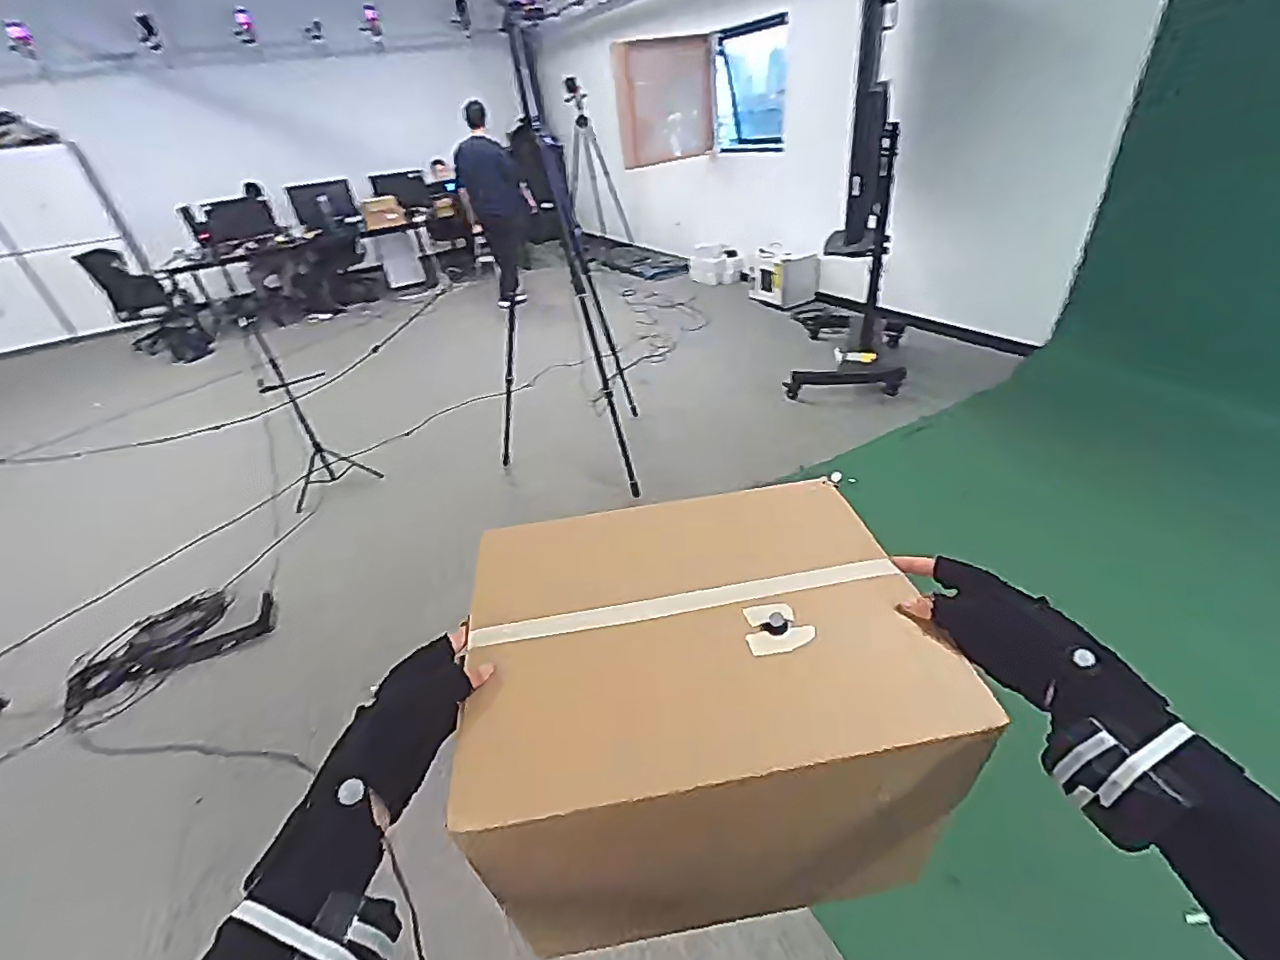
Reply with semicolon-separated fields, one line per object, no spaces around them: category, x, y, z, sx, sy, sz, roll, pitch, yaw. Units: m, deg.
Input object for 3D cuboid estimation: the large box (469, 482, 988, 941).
large box;0.061;0.237;0.600;0.408;0.320;0.320;-8;36;-4
